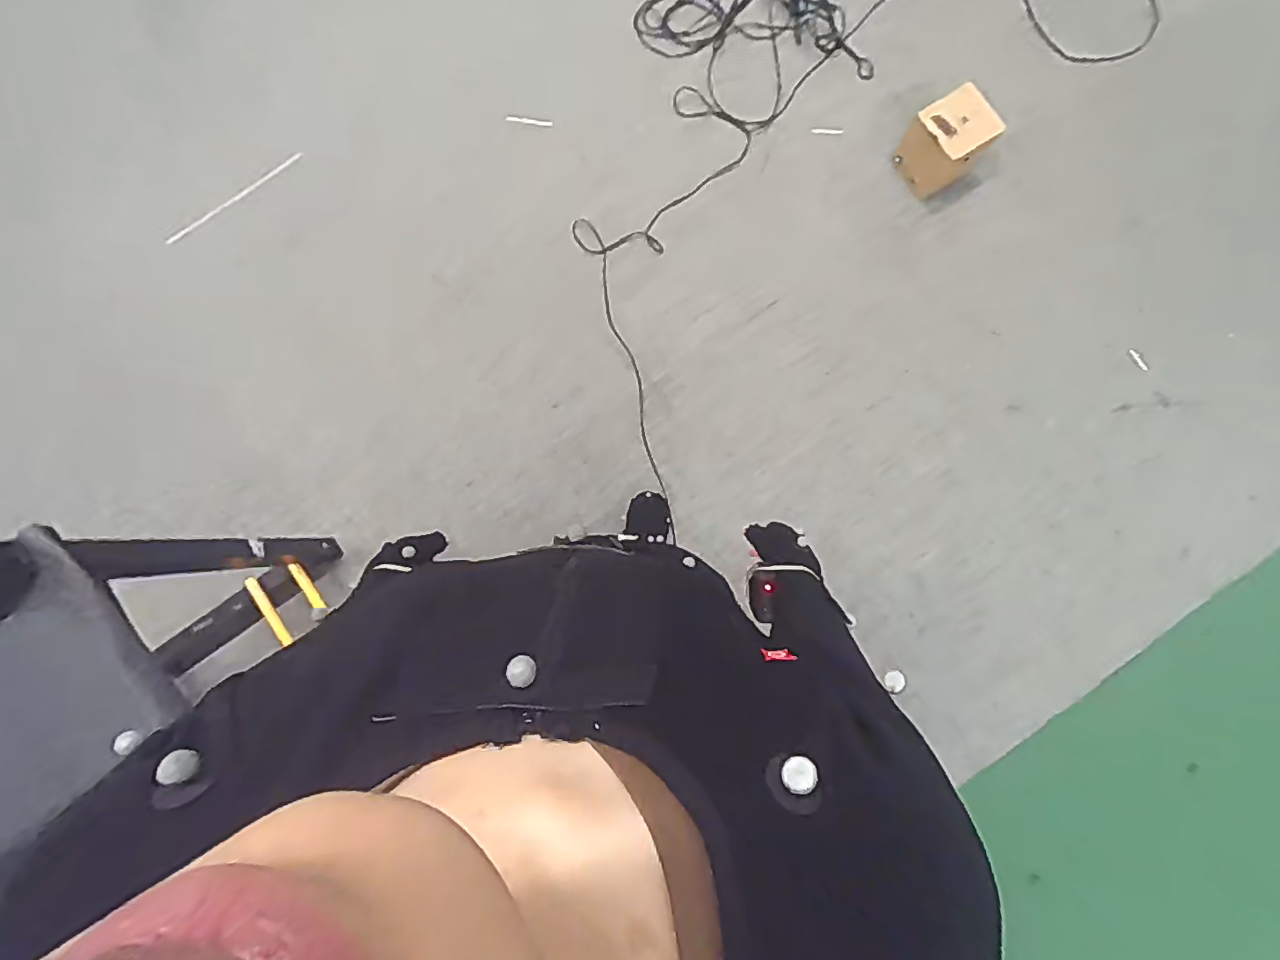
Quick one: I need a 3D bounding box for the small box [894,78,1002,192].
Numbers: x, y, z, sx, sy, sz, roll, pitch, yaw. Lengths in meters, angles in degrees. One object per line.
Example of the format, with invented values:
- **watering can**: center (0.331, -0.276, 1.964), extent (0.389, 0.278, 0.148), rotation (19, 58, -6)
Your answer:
- **small box**: center (0.837, -0.945, 1.499), extent (0.179, 0.176, 0.168), rotation (-32, 85, -3)
